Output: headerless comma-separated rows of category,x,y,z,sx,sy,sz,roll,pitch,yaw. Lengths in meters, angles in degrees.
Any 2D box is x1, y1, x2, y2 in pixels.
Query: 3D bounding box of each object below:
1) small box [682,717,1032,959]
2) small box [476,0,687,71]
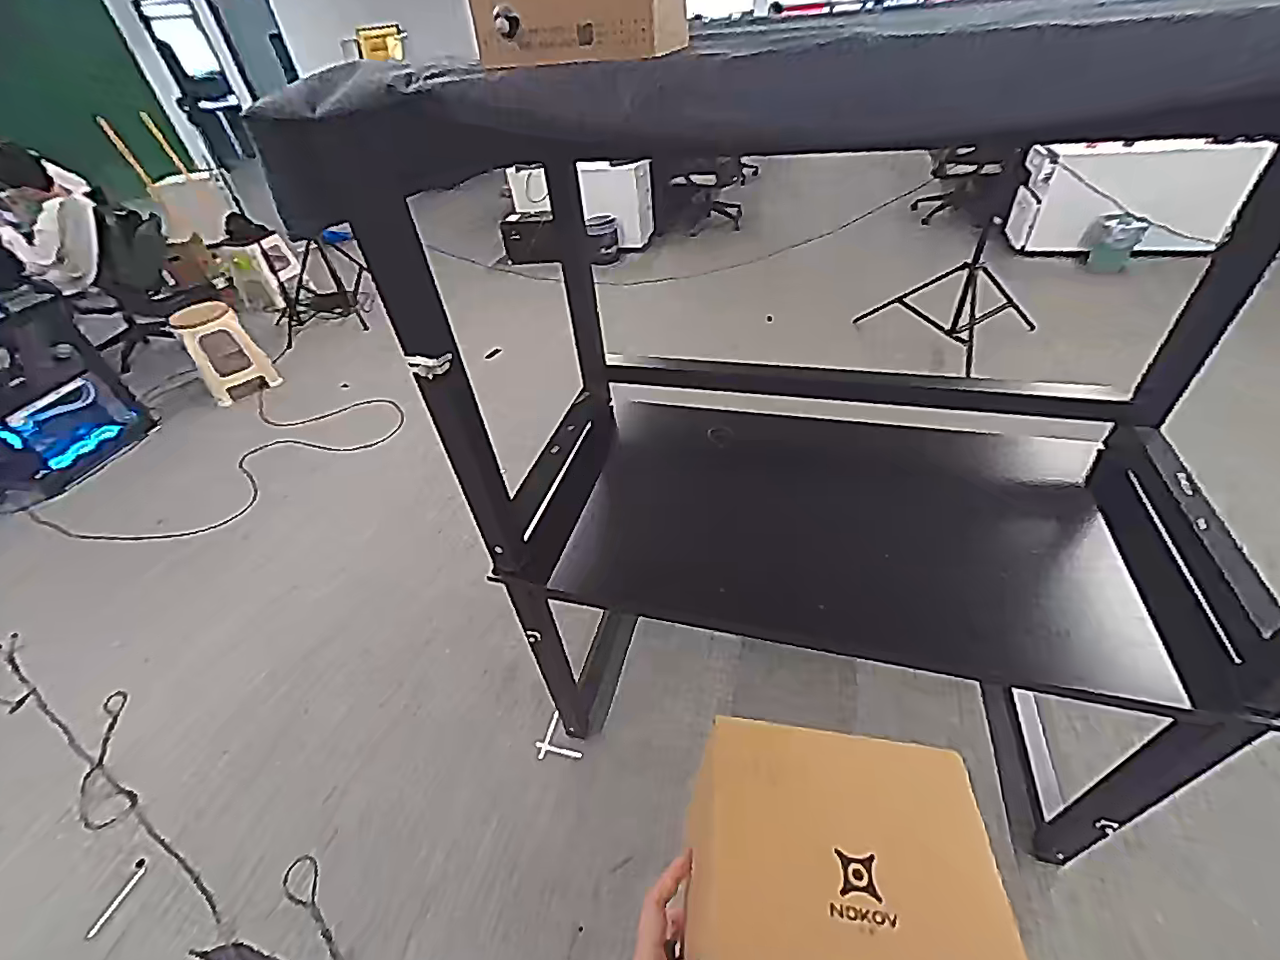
small box,0.116,0.286,0.345,0.168,0.176,0.179,7,38,4
small box,-0.050,-0.481,0.490,0.168,0.176,0.179,6,41,12
